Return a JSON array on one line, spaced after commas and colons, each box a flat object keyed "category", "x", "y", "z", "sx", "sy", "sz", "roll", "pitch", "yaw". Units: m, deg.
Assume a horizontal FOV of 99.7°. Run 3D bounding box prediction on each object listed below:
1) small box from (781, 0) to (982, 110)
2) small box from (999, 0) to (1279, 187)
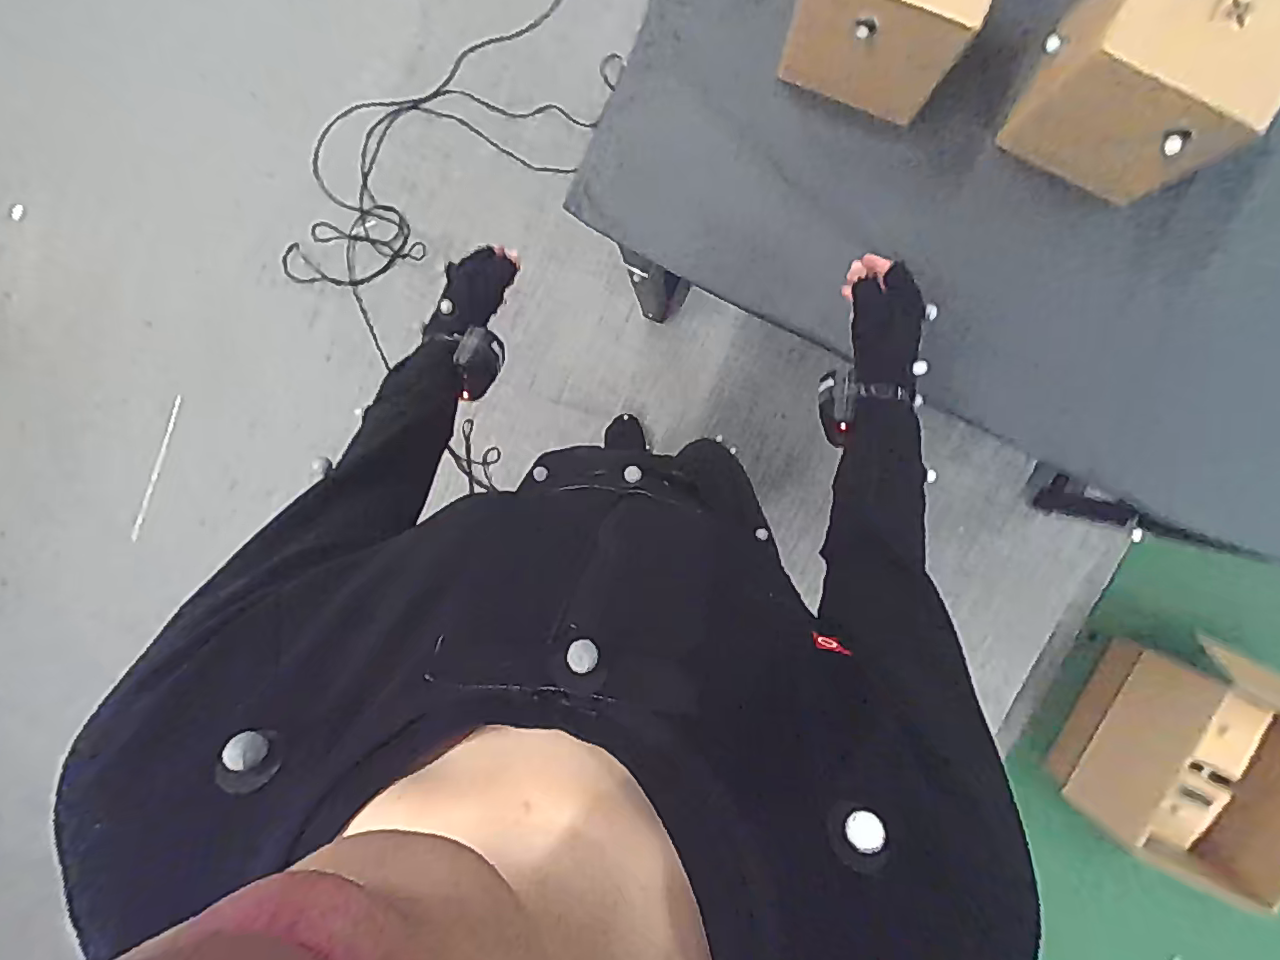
[{"category": "small box", "x": 0.271, "y": -0.547, "z": 0.584, "sx": 0.179, "sy": 0.176, "sz": 0.168, "roll": 22, "pitch": 97, "yaw": 1}, {"category": "small box", "x": 0.541, "y": -0.446, "z": 0.572, "sx": 0.179, "sy": 0.176, "sz": 0.168, "roll": 28, "pitch": 97, "yaw": 2}]
